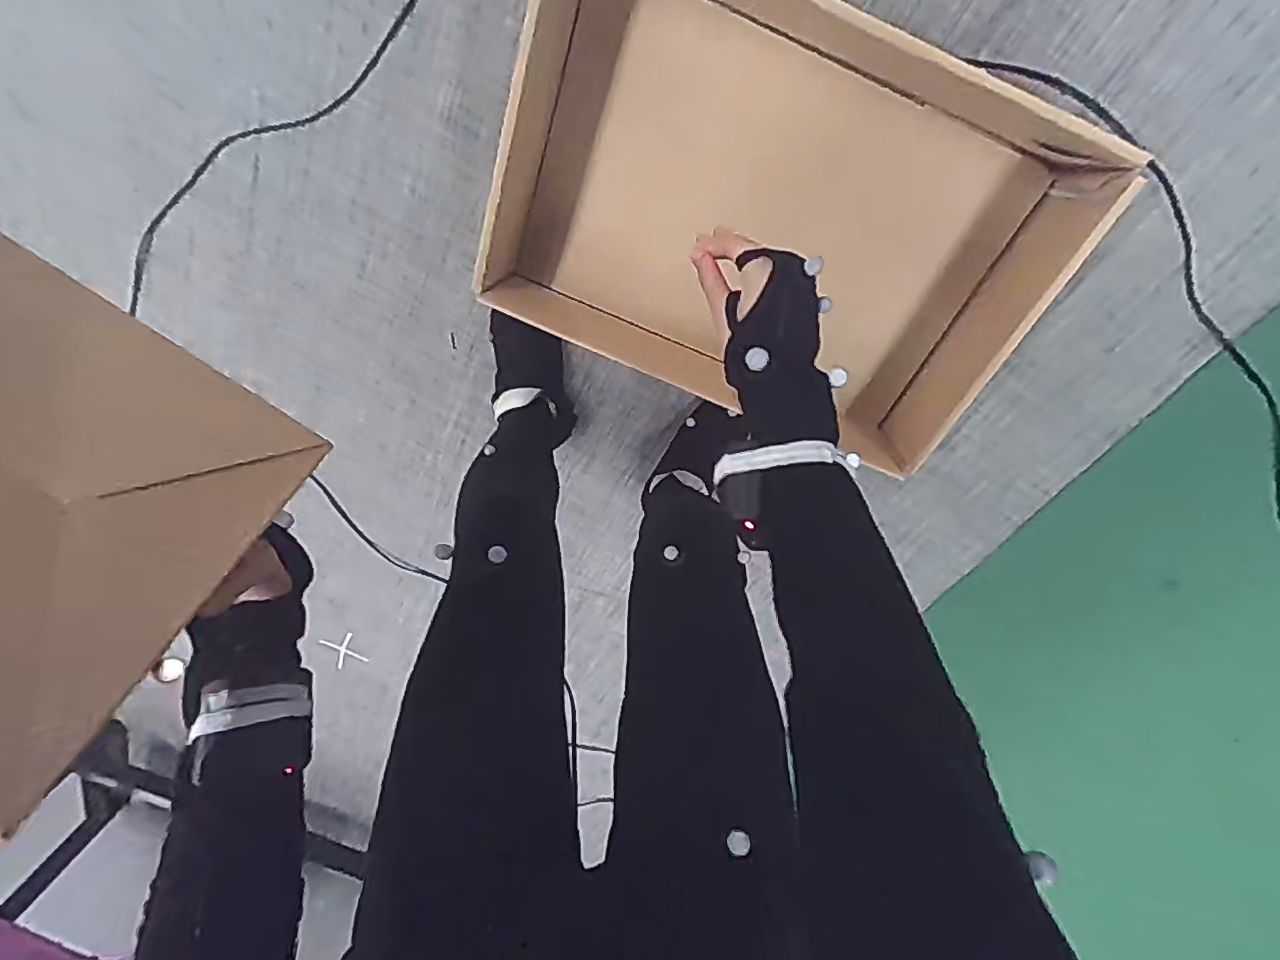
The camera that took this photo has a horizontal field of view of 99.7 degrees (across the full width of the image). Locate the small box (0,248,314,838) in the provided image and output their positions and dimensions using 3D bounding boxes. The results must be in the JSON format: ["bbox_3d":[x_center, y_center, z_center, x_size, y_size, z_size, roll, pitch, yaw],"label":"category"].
[{"bbox_3d":[-0.267,0.028,0.202,0.176,0.179,0.168,-37,118,26],"label":"small box"}]
